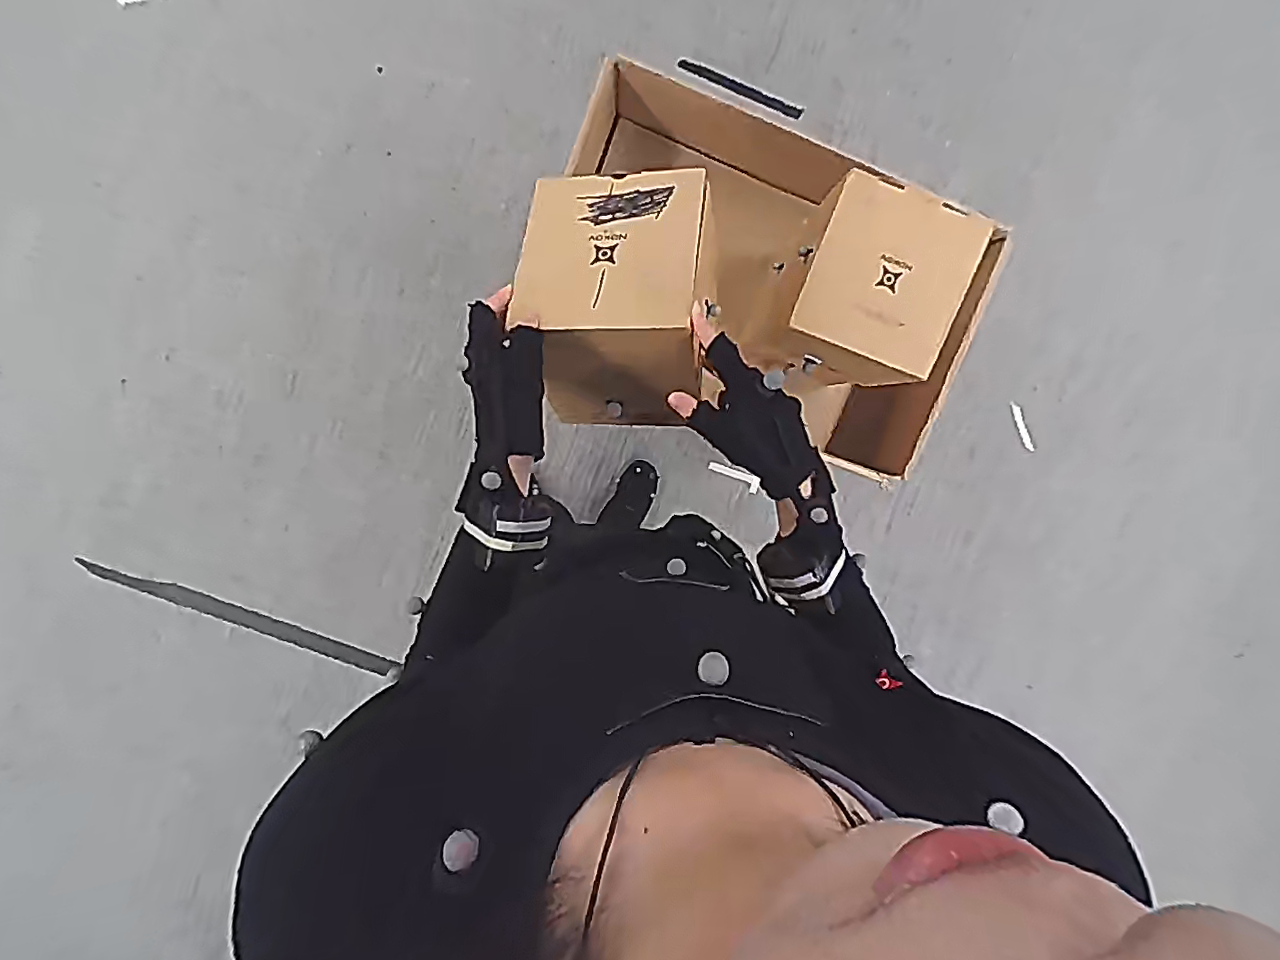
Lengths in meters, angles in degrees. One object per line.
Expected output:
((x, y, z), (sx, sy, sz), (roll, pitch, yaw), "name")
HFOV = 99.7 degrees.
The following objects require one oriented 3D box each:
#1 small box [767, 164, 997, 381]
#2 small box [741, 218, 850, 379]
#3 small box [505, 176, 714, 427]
((0.270, -0.230, 0.651), (0.168, 0.176, 0.179), (21, 98, -1), "small box")
((0.273, -0.257, 0.813), (0.179, 0.176, 0.168), (21, 96, -4), "small box")
((-0.013, -0.174, 0.552), (0.168, 0.176, 0.179), (3, 67, 12), "small box")
